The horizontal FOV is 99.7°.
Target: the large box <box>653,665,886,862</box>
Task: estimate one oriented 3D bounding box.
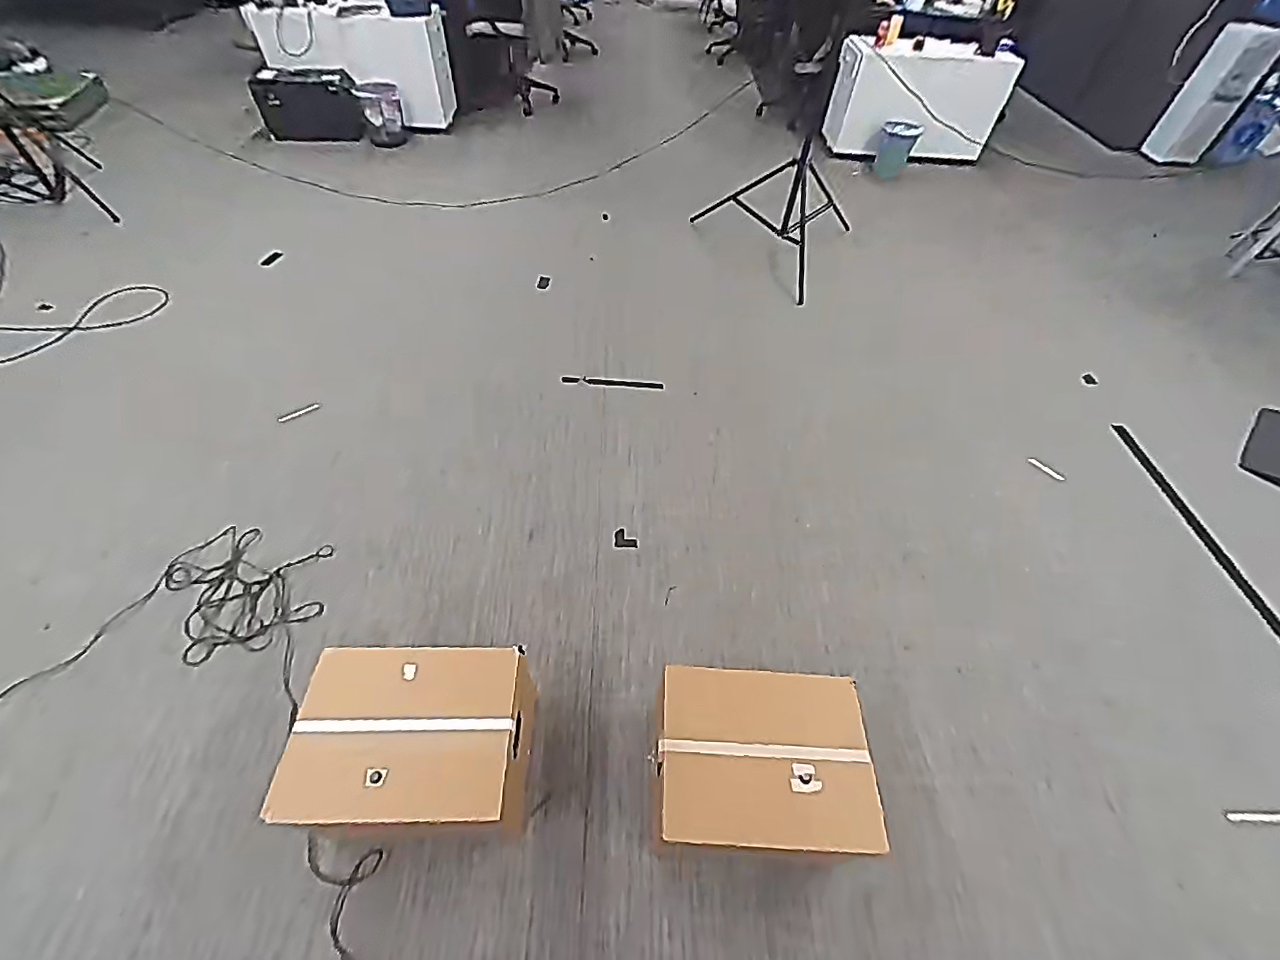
[{"bbox_3d":[0.237,0.617,1.167,0.408,0.320,0.320,5,51,-1],"label":"large box"}]
